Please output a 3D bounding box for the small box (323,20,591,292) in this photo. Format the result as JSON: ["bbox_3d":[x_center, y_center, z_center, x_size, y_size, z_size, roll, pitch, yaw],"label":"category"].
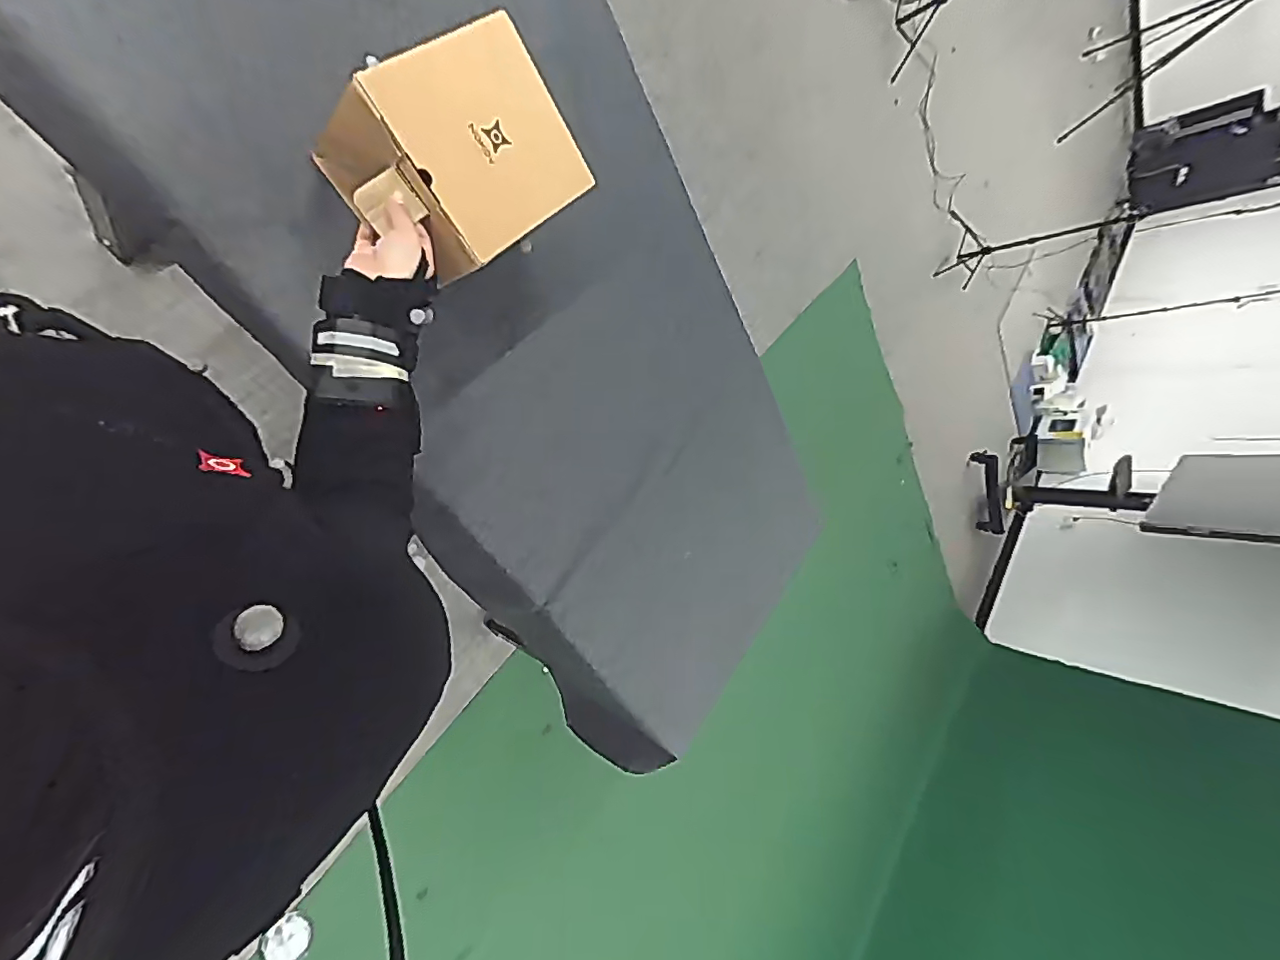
[{"bbox_3d":[-0.192,-0.322,0.566,0.179,0.176,0.168,-49,123,-25],"label":"small box"}]
